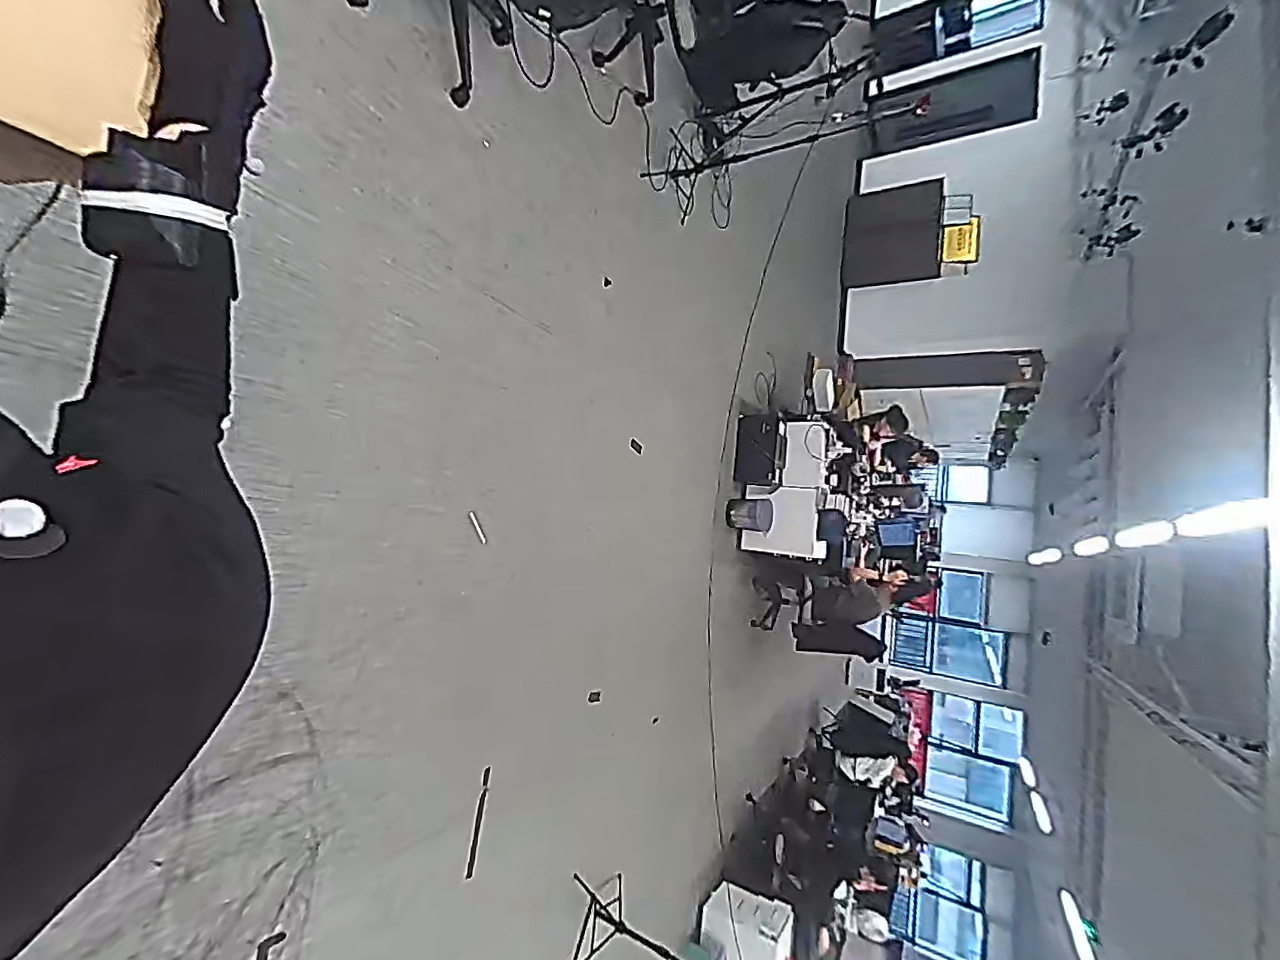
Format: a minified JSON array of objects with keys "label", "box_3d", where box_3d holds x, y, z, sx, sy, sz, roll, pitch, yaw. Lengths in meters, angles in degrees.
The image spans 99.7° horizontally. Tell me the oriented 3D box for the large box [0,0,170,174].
[{"label":"large box","box_3d":[-0.542,-0.414,0.270,0.408,0.320,0.320,9,97,-63]}]
